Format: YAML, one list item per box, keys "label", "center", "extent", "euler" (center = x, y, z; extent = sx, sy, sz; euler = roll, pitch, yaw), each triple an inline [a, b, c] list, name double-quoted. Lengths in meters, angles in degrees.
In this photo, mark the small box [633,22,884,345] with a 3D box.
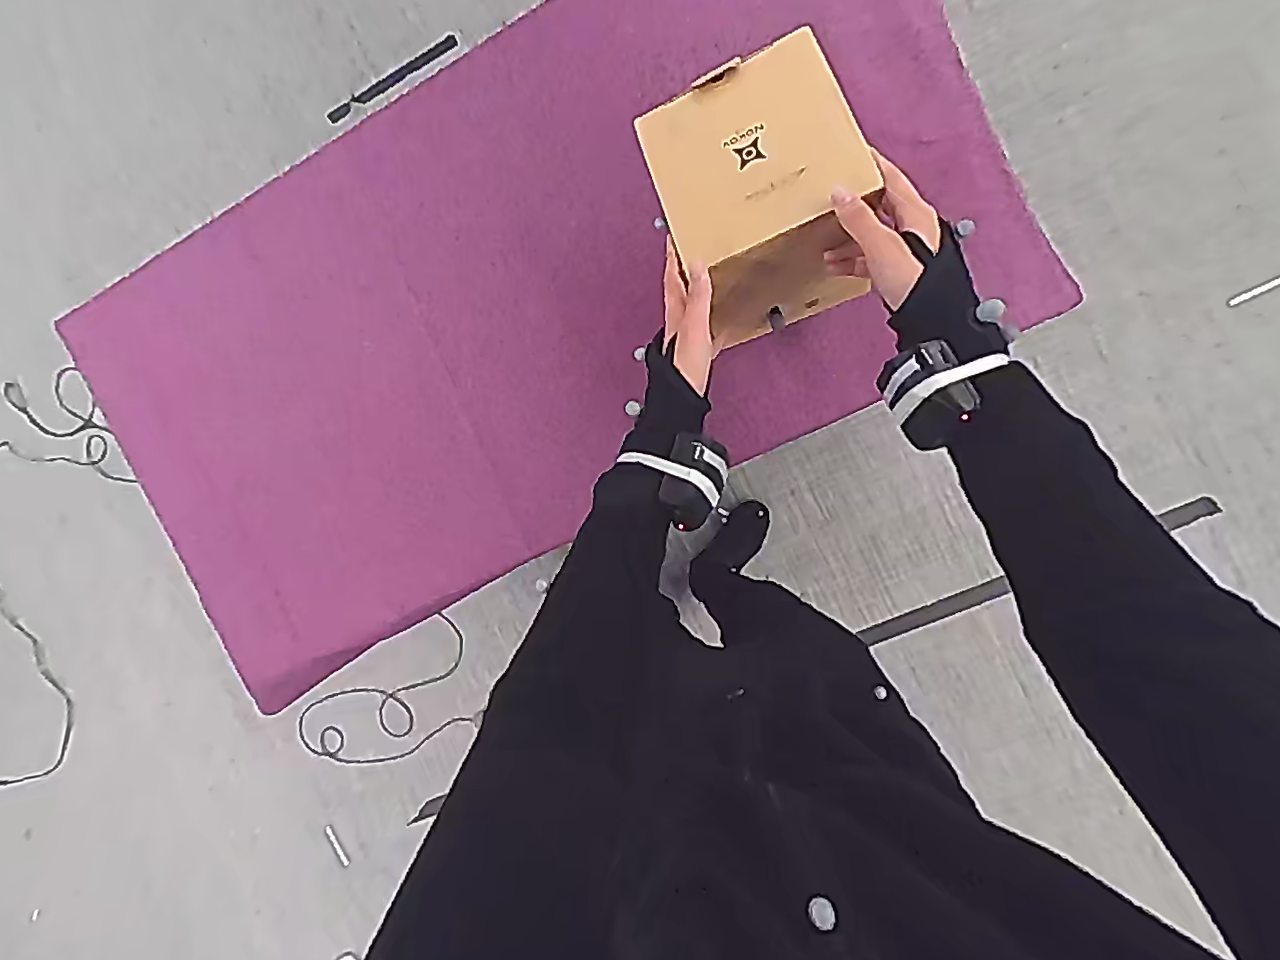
- label: "small box"
  center: [0.112, -0.261, 0.519]
  extent: [0.168, 0.176, 0.179]
  euler: [-20, 75, 15]
